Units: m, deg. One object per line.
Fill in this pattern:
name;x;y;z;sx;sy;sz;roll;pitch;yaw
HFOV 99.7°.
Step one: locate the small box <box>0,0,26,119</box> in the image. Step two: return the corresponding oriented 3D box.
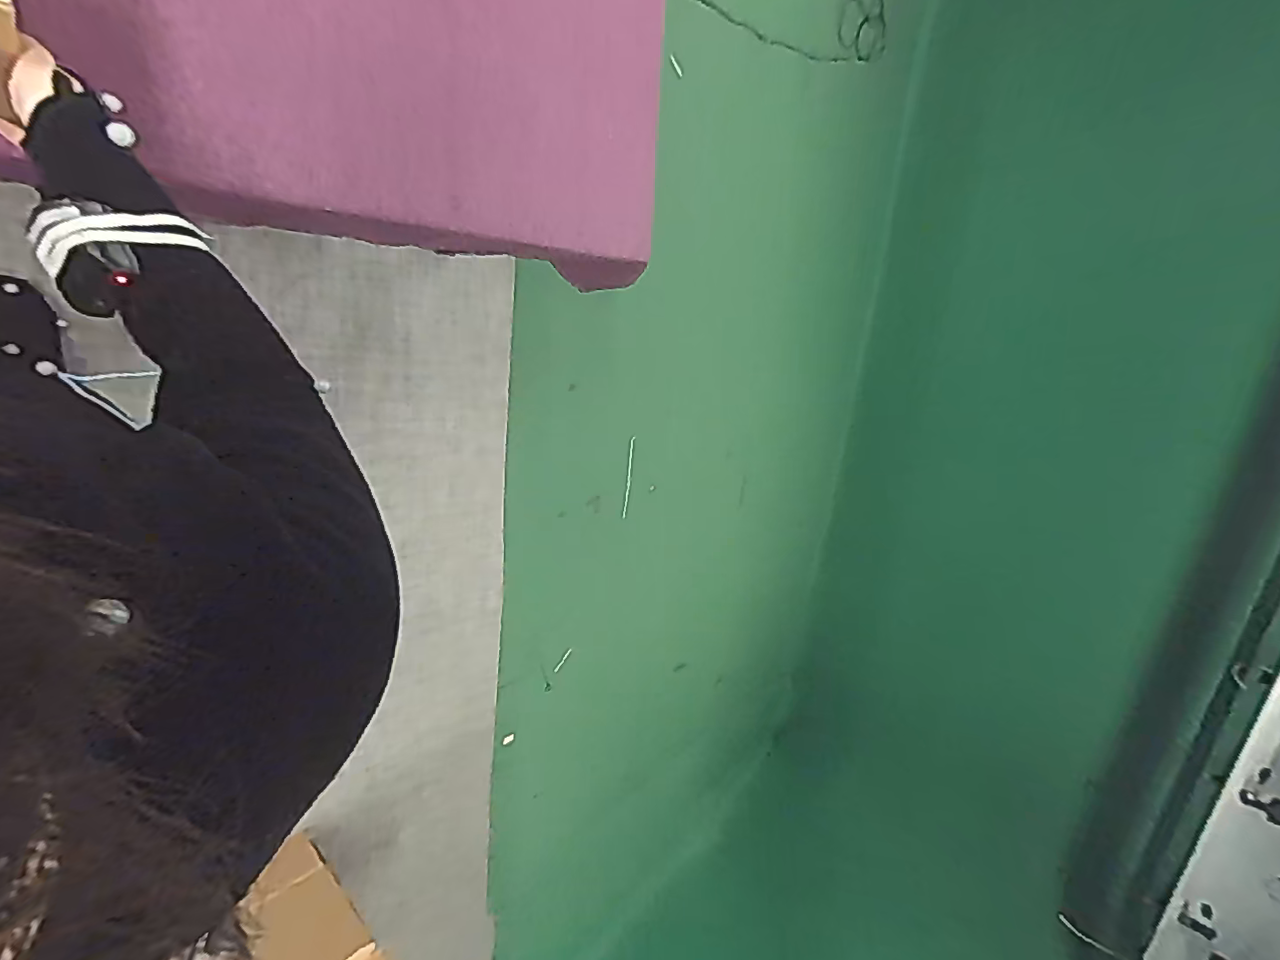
small box;-0.519;-0.365;0.331;0.168;0.176;0.179;-13;100;-46
